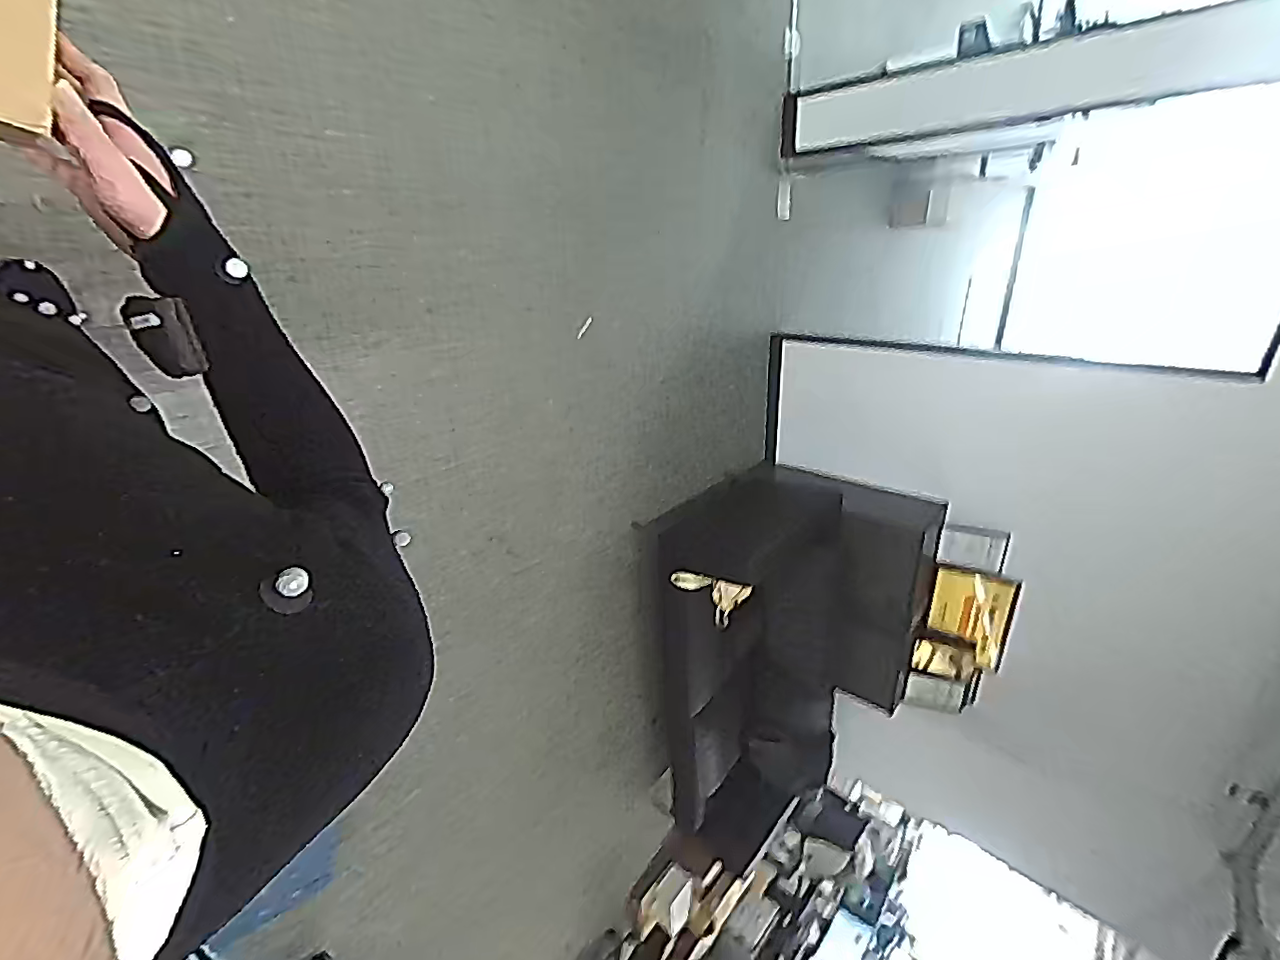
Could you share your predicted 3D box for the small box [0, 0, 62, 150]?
[{"bbox_3d":[-0.455,-0.315,0.302,0.168,0.176,0.179,-1,109,-53],"label":"small box"}]
